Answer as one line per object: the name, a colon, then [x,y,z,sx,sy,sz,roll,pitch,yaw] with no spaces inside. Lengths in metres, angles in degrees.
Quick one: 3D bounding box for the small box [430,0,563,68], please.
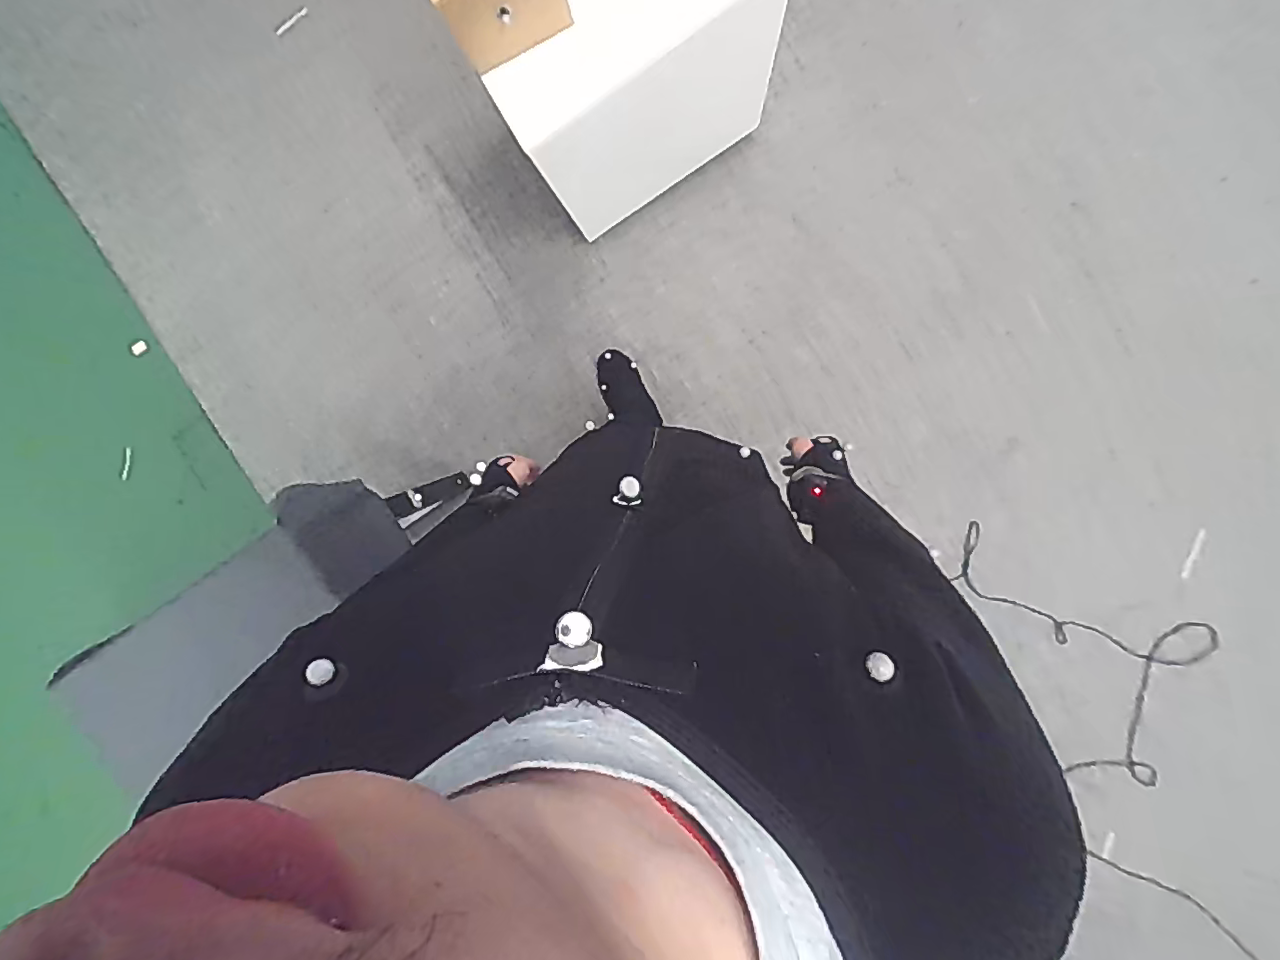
small box: [-0.220,-0.740,0.757,0.179,0.176,0.168,-23,96,7]
